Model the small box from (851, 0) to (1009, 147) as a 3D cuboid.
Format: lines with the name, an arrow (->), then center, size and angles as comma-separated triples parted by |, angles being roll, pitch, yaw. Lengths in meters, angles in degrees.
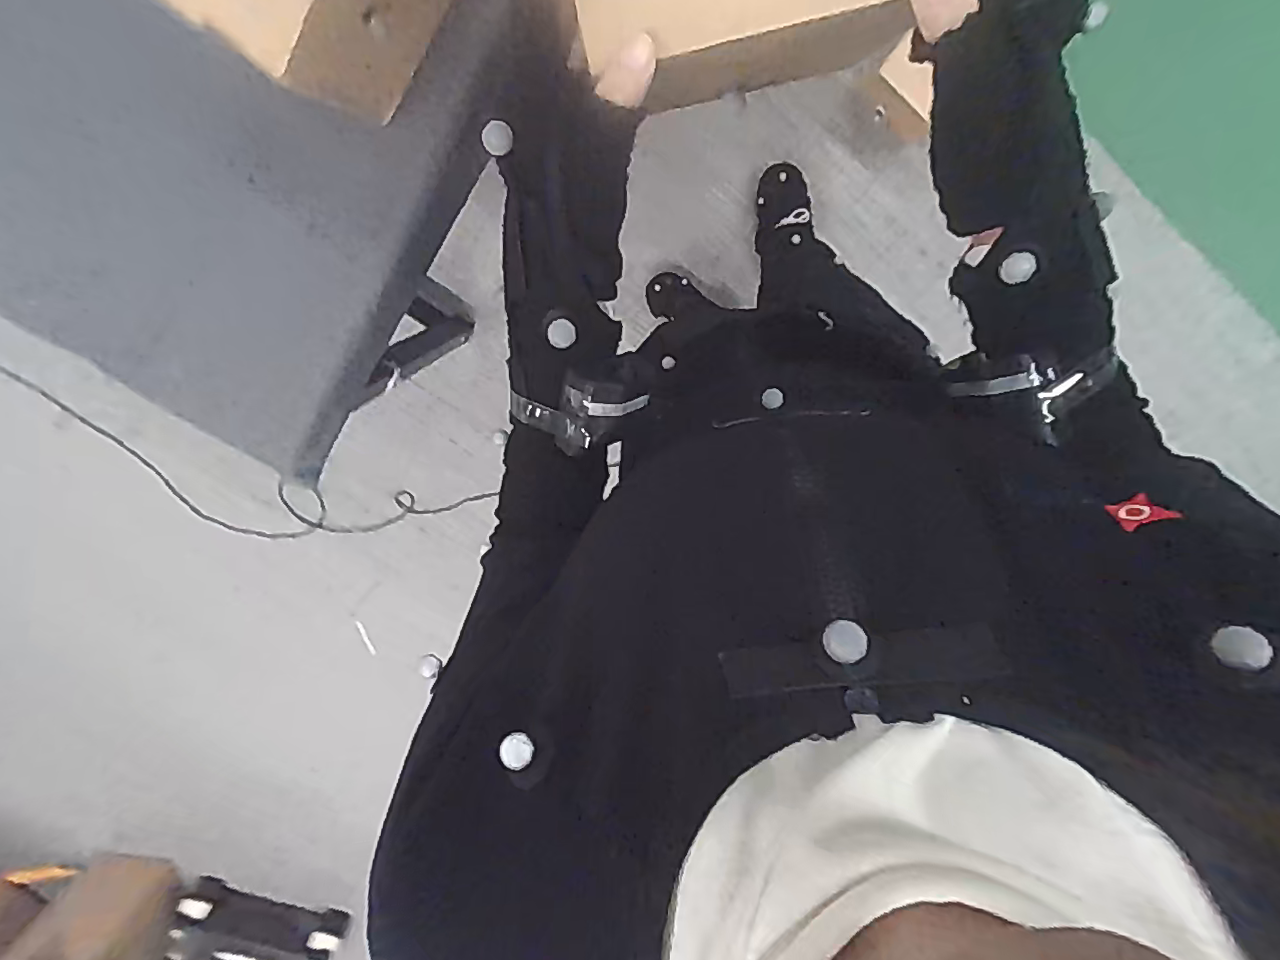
small box -> 0.538, -0.775, 1.031 | 0.168, 0.176, 0.179 | 35, 113, -12

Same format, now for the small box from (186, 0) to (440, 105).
small box -> -0.267, -0.435, 0.414 | 0.168, 0.176, 0.179 | 38, 111, -13

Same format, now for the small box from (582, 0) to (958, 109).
small box -> 0.048, -0.303, 0.257 | 0.168, 0.176, 0.179 | -7, 118, 5
